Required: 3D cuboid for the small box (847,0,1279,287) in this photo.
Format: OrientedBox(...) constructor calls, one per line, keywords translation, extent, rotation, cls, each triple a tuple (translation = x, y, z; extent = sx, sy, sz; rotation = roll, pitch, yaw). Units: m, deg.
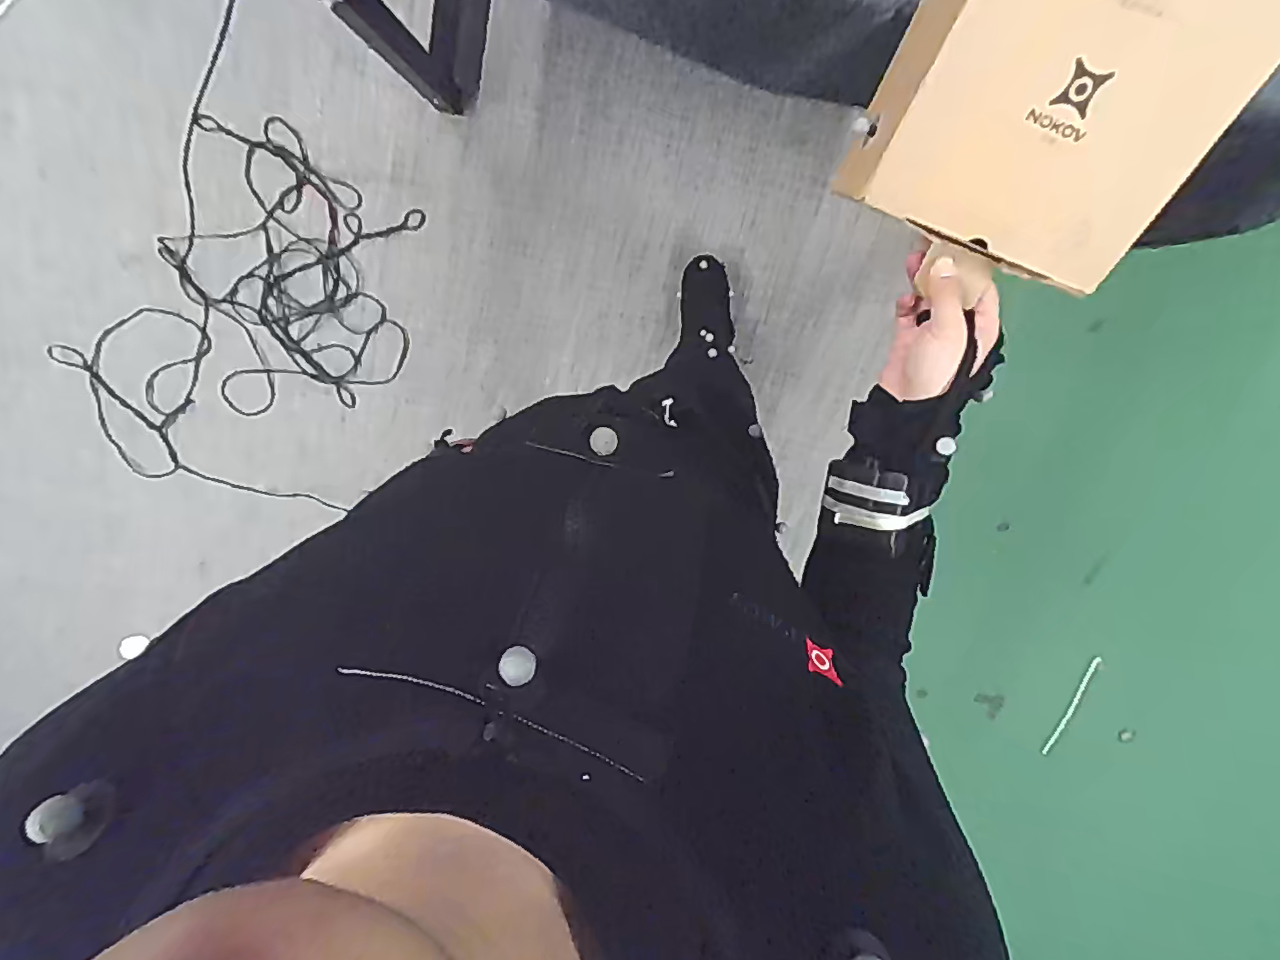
OrientedBox(translation=(0.263, -0.262, 0.372), extent=(0.168, 0.176, 0.179), rotation=(21, 122, -2), cls="small box")
